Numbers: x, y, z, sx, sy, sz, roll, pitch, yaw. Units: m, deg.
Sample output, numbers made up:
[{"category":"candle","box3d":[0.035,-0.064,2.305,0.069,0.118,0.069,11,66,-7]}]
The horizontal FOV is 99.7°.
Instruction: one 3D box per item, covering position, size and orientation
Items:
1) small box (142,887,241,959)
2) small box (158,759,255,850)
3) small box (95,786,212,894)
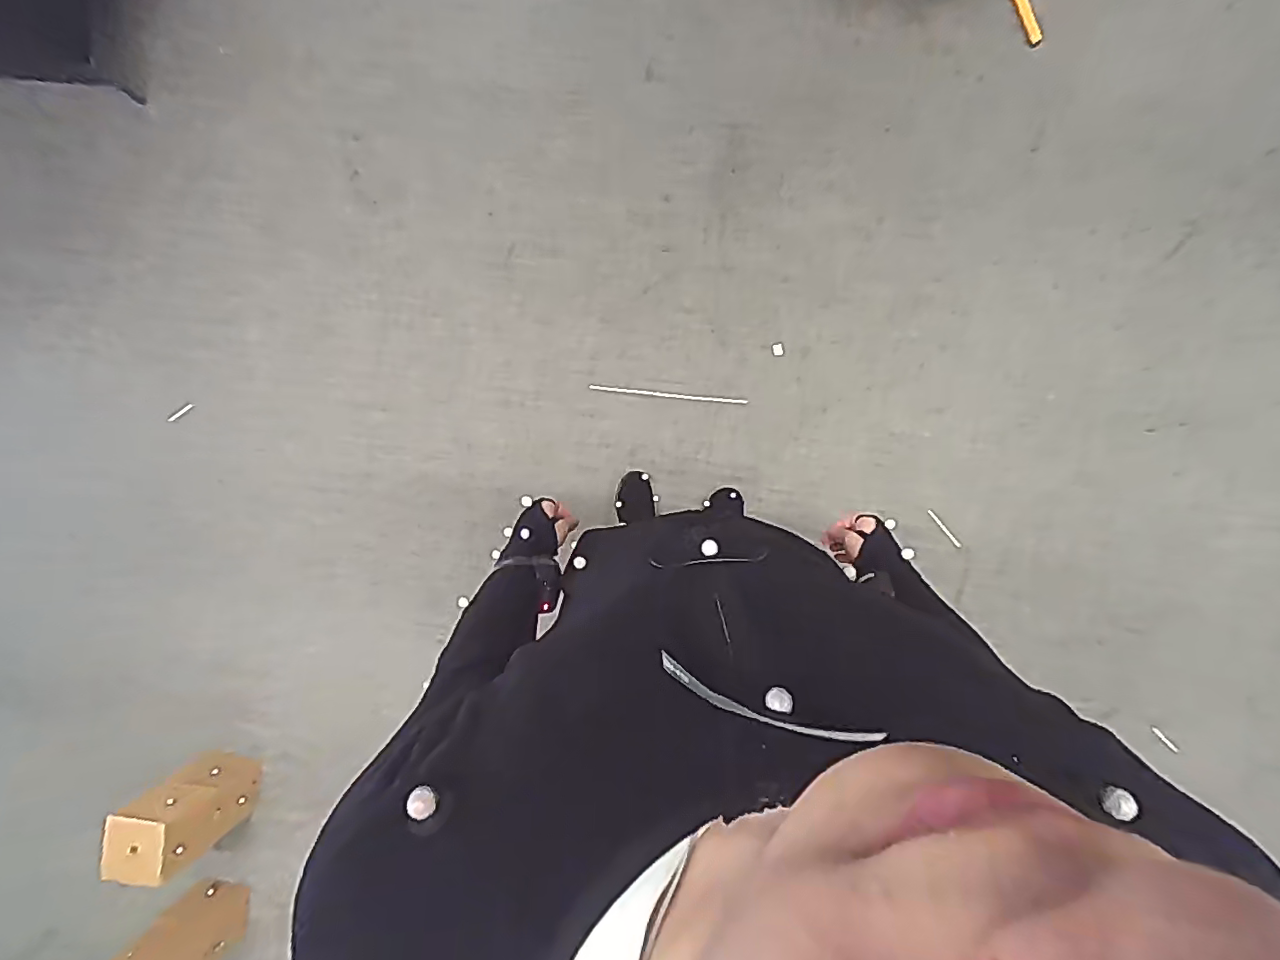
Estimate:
[{"category":"small box","box3d":[-1.351,1.389,1.635,0.168,0.176,0.179,6,90,3]},{"category":"small box","box3d":[-1.312,0.973,1.635,0.179,0.176,0.168,8,89,3]},{"category":"small box","box3d":[-1.314,0.970,1.472,0.168,0.176,0.179,7,91,3]}]
